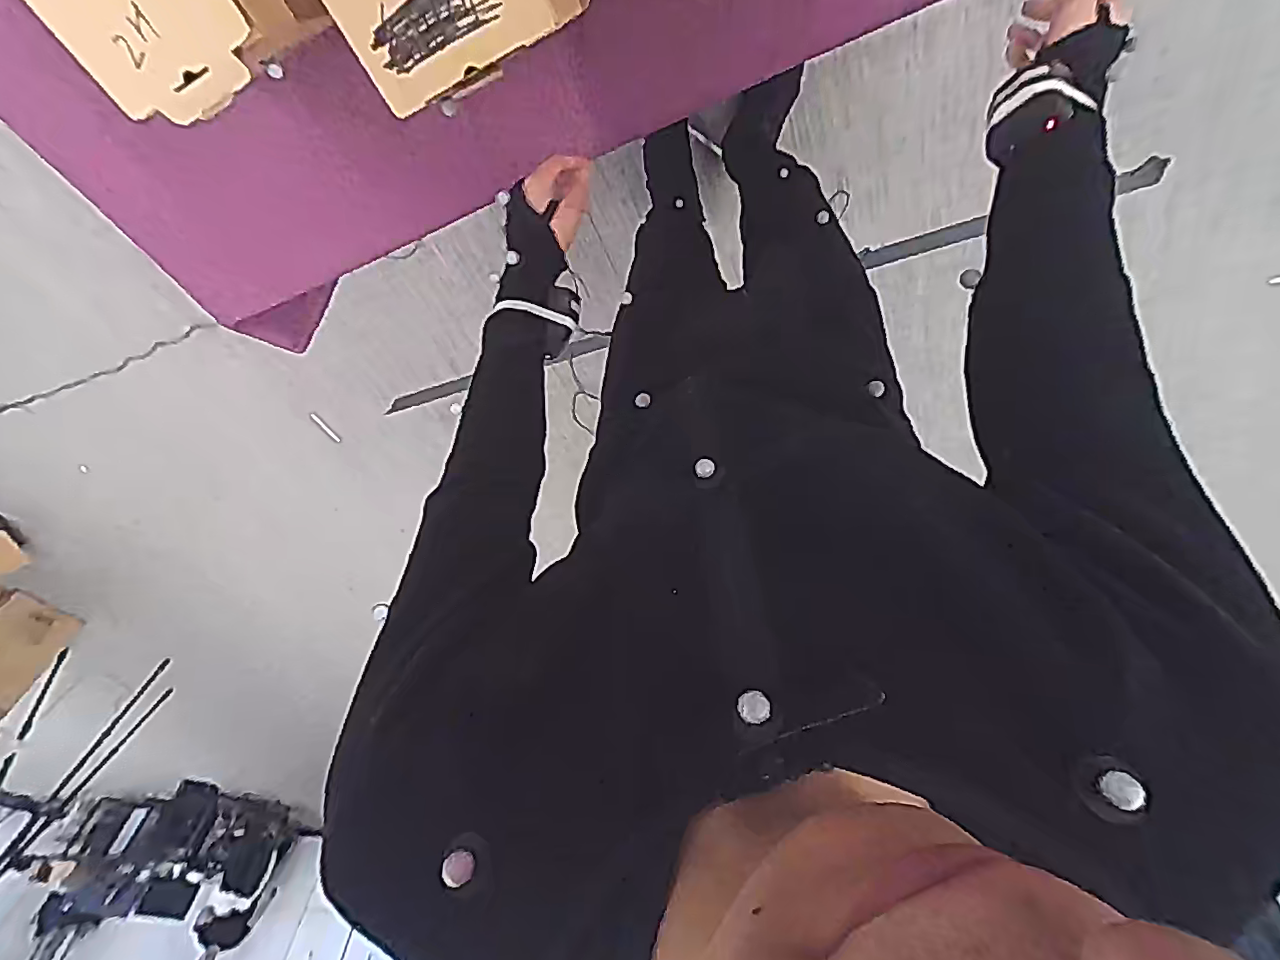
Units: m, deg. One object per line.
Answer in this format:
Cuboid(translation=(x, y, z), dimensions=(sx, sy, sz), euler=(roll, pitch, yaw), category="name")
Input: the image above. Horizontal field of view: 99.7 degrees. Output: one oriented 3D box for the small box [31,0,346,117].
Cuboid(translation=(-0.406, -0.459, 0.467), dimensions=(0.168, 0.176, 0.179), euler=(-13, 133, 19), category="small box")
